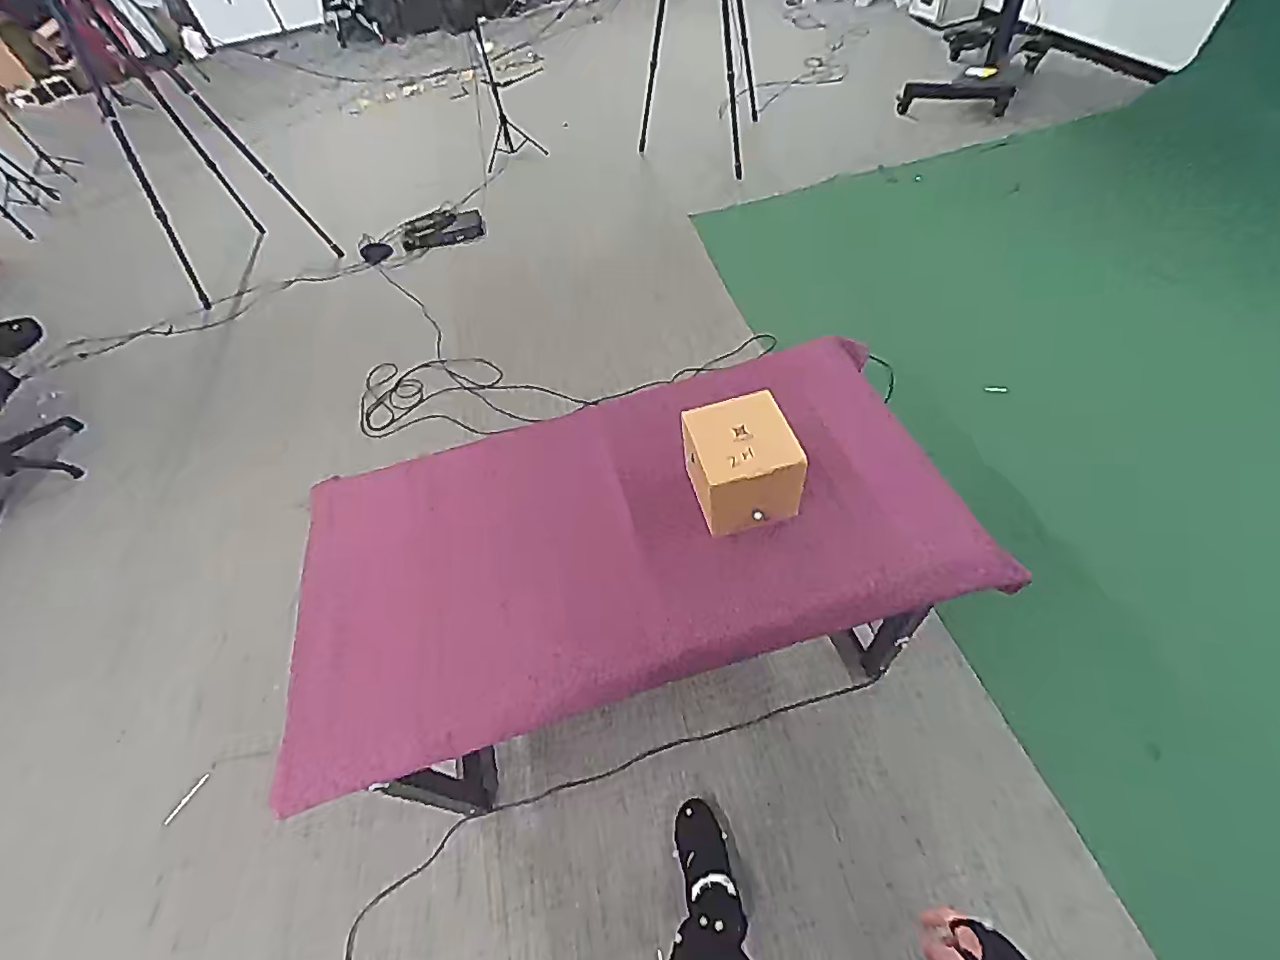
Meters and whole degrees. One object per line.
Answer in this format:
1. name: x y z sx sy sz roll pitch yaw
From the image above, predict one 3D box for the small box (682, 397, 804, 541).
1. small box: 0.179 -0.018 0.982 0.168 0.176 0.179 -15 52 -1
